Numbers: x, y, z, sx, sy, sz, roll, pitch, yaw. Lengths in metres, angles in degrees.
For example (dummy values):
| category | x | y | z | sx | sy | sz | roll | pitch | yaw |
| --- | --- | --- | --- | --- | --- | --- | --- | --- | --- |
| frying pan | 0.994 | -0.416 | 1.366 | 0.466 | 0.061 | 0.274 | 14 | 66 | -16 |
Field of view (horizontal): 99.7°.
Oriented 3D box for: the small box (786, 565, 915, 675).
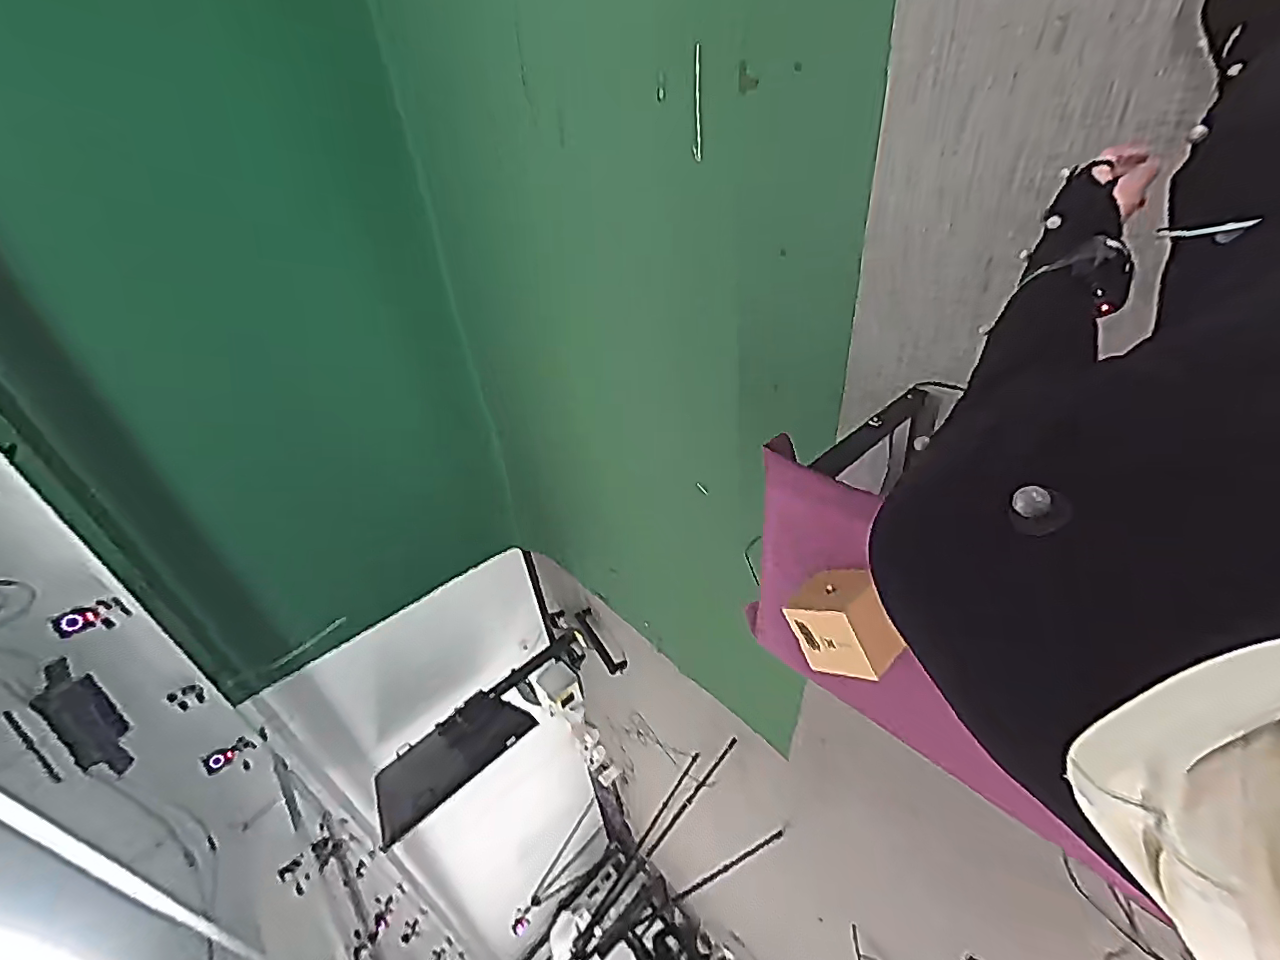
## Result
| category | x | y | z | sx | sy | sz | roll | pitch | yaw |
| --- | --- | --- | --- | --- | --- | --- | --- | --- | --- |
| small box | 0.465 | 0.299 | 1.194 | 0.179 | 0.176 | 0.168 | -18 | 102 | 58 |
